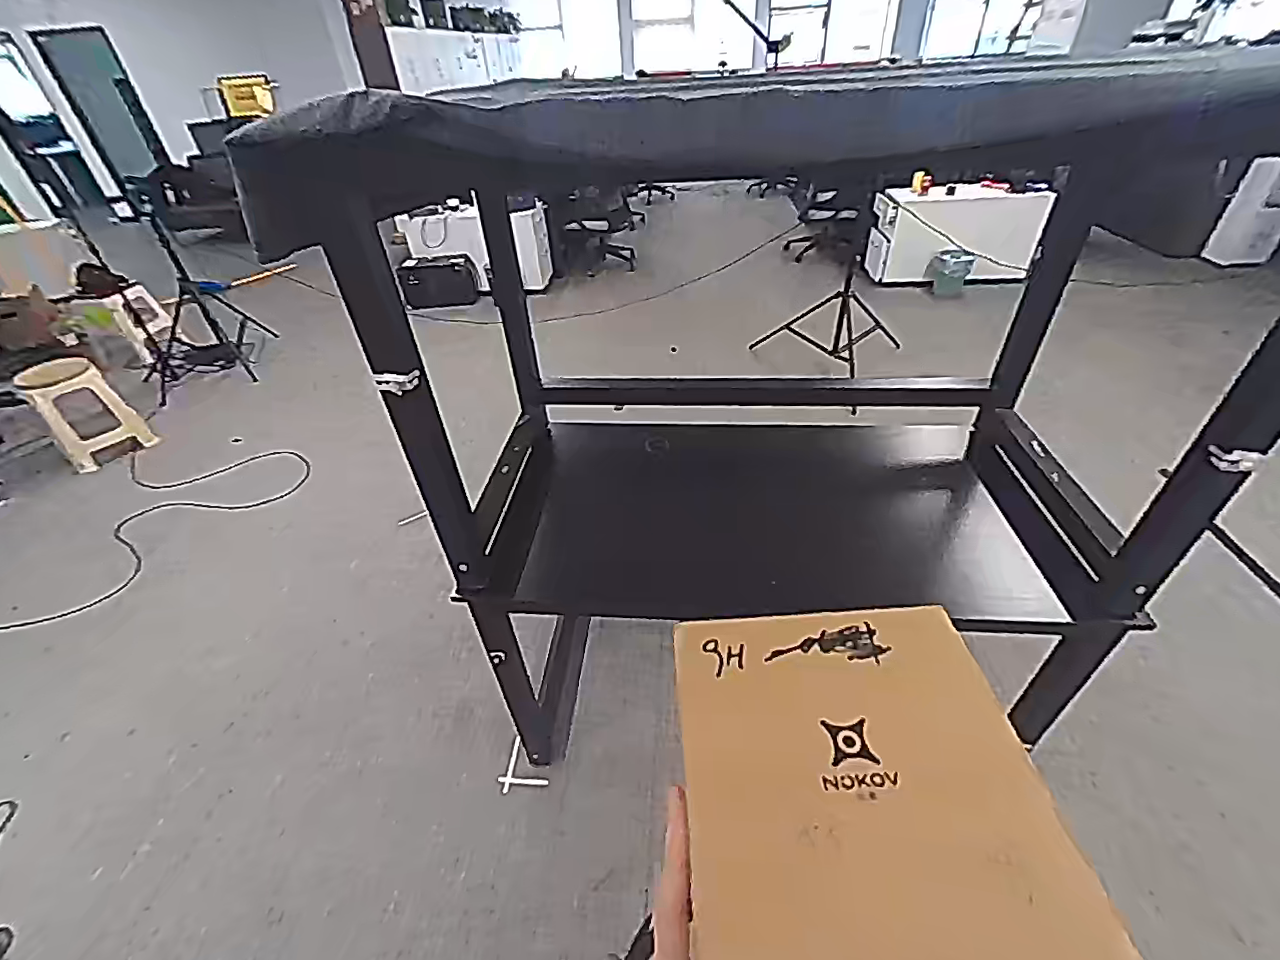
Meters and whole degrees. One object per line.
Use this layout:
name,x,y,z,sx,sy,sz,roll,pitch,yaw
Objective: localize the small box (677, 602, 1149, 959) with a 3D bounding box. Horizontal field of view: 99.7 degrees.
small box,0.110,0.194,0.309,0.168,0.176,0.179,-3,40,1
